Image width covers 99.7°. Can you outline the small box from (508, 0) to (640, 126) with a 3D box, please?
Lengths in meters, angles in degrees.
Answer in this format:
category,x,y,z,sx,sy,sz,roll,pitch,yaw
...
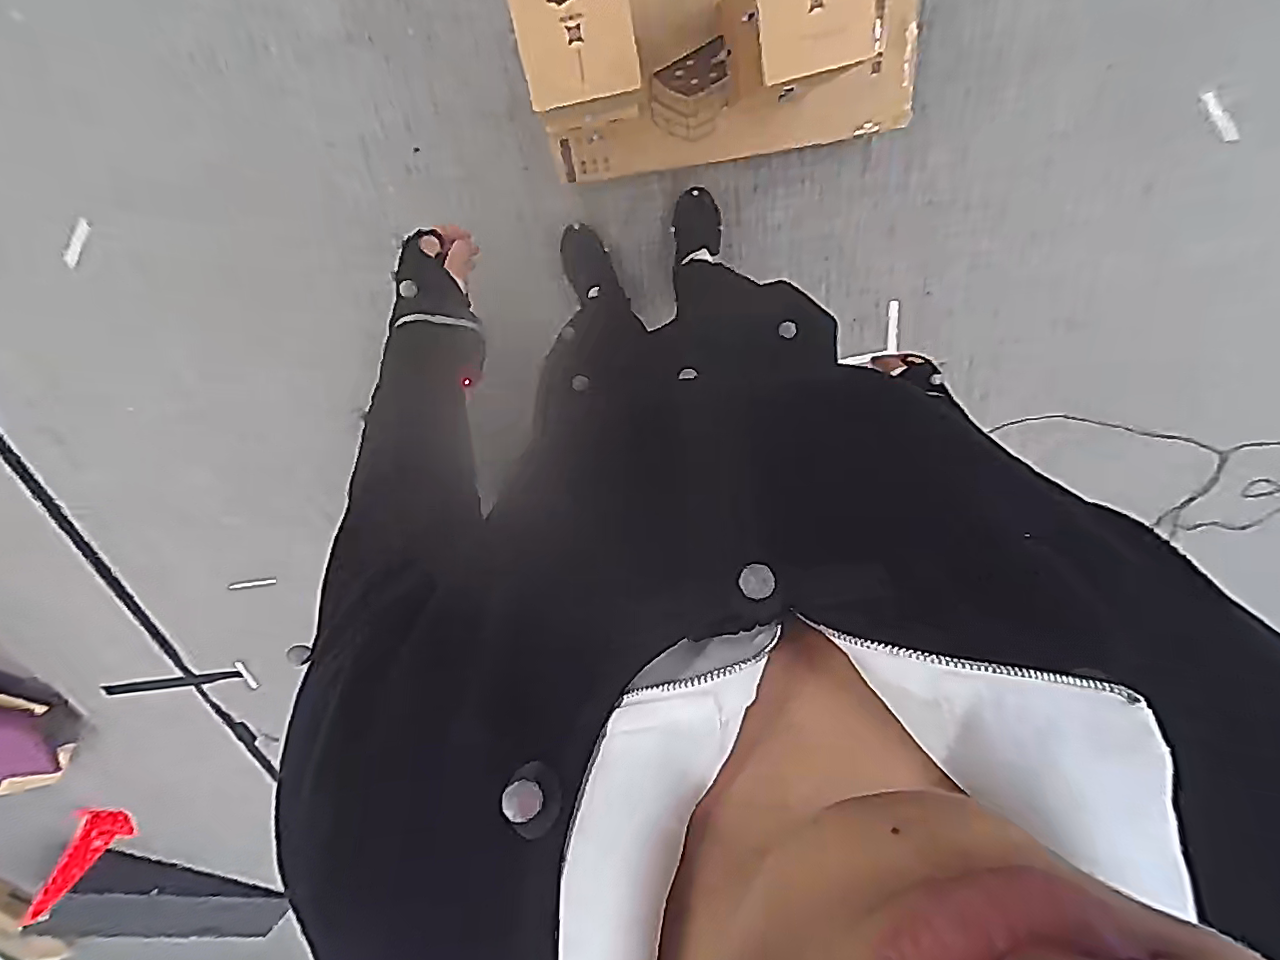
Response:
category,x,y,z,sx,sy,sz,roll,pitch,yaw
small box,-0.099,-0.666,0.827,0.168,0.176,0.179,-11,119,2

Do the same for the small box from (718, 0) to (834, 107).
category,x,y,z,sx,sy,sz,roll,pitch,yaw
small box,0.241,-0.788,0.969,0.168,0.176,0.179,-11,120,2

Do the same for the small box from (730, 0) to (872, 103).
category,x,y,z,sx,sy,sz,roll,pitch,yaw
small box,0.239,-0.708,0.827,0.168,0.176,0.179,-12,119,5

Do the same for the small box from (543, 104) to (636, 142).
category,x,y,z,sx,sy,sz,roll,pitch,yaw
small box,-0.103,-0.732,0.978,0.168,0.176,0.179,-9,119,2
